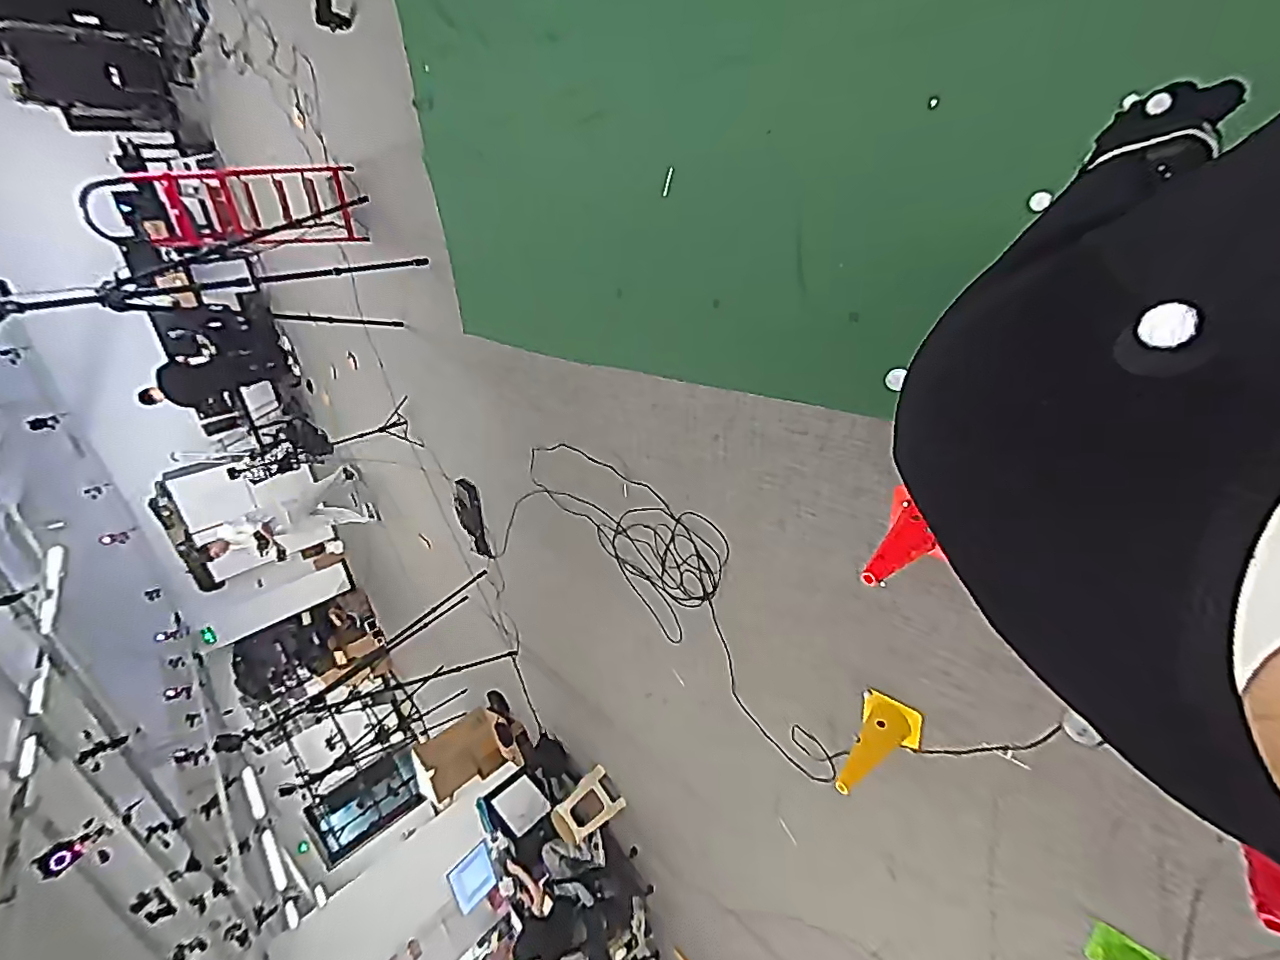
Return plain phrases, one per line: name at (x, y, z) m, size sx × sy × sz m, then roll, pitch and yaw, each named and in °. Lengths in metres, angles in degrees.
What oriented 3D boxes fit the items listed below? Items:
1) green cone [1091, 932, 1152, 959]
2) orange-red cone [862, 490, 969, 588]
green cone at (1.339, 1.512, 1.485) m, size 0.202 × 0.368 × 0.200 m, roll 21°, pitch 125°, yaw 45°
orange-red cone at (0.714, 0.199, 1.476) m, size 0.198 × 0.360 × 0.199 m, roll 23°, pitch 128°, yaw 43°
